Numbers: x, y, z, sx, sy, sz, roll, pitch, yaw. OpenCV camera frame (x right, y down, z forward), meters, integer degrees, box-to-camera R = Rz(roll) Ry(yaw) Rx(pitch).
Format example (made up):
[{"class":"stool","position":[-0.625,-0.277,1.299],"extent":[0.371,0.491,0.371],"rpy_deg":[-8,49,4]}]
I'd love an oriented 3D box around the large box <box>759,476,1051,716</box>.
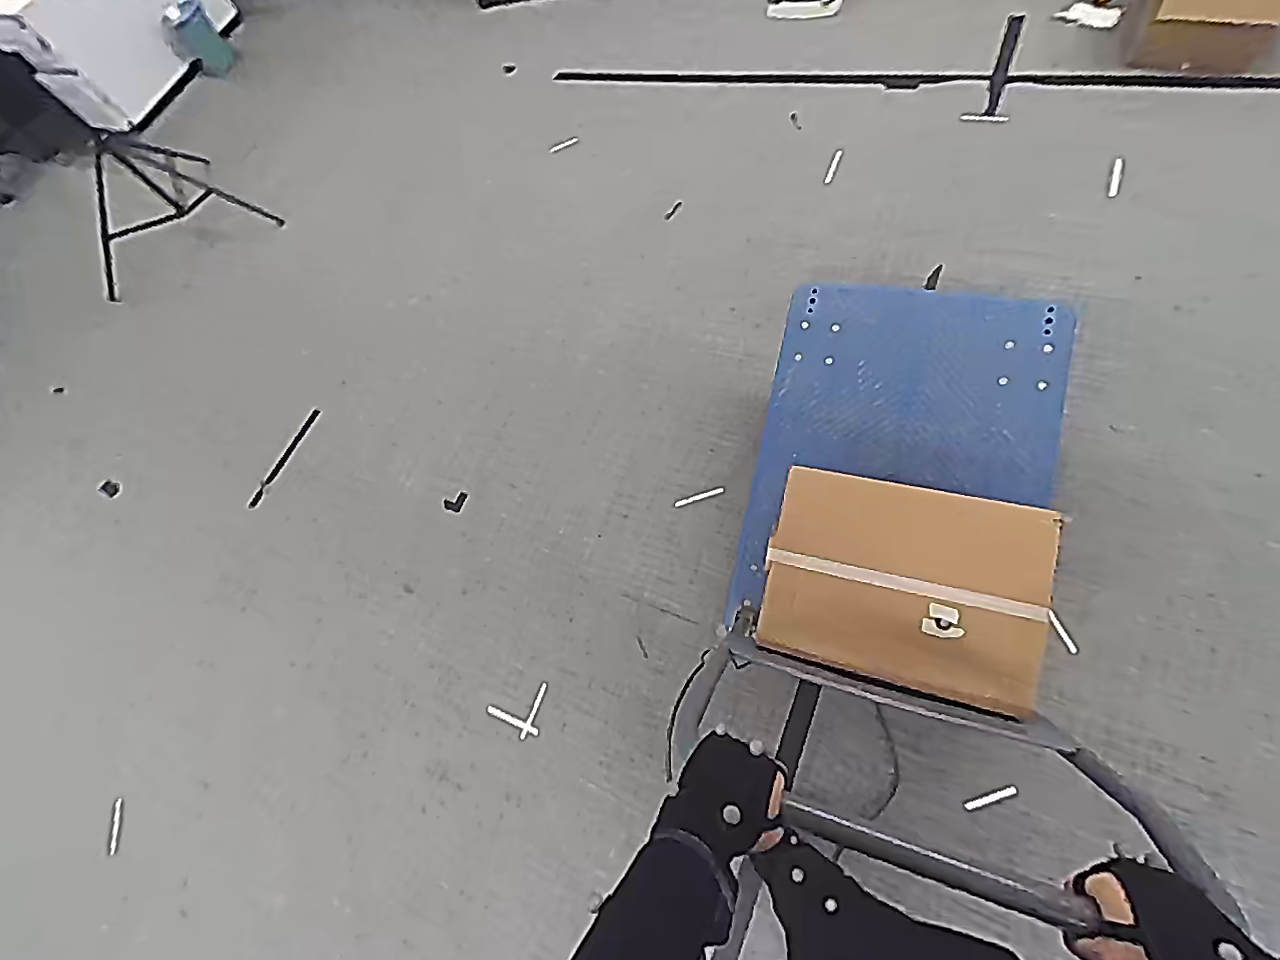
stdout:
[{"class":"large box","position":[0.454,0.196,1.014],"extent":[0.408,0.320,0.320],"rpy_deg":[11,84,17]}]
